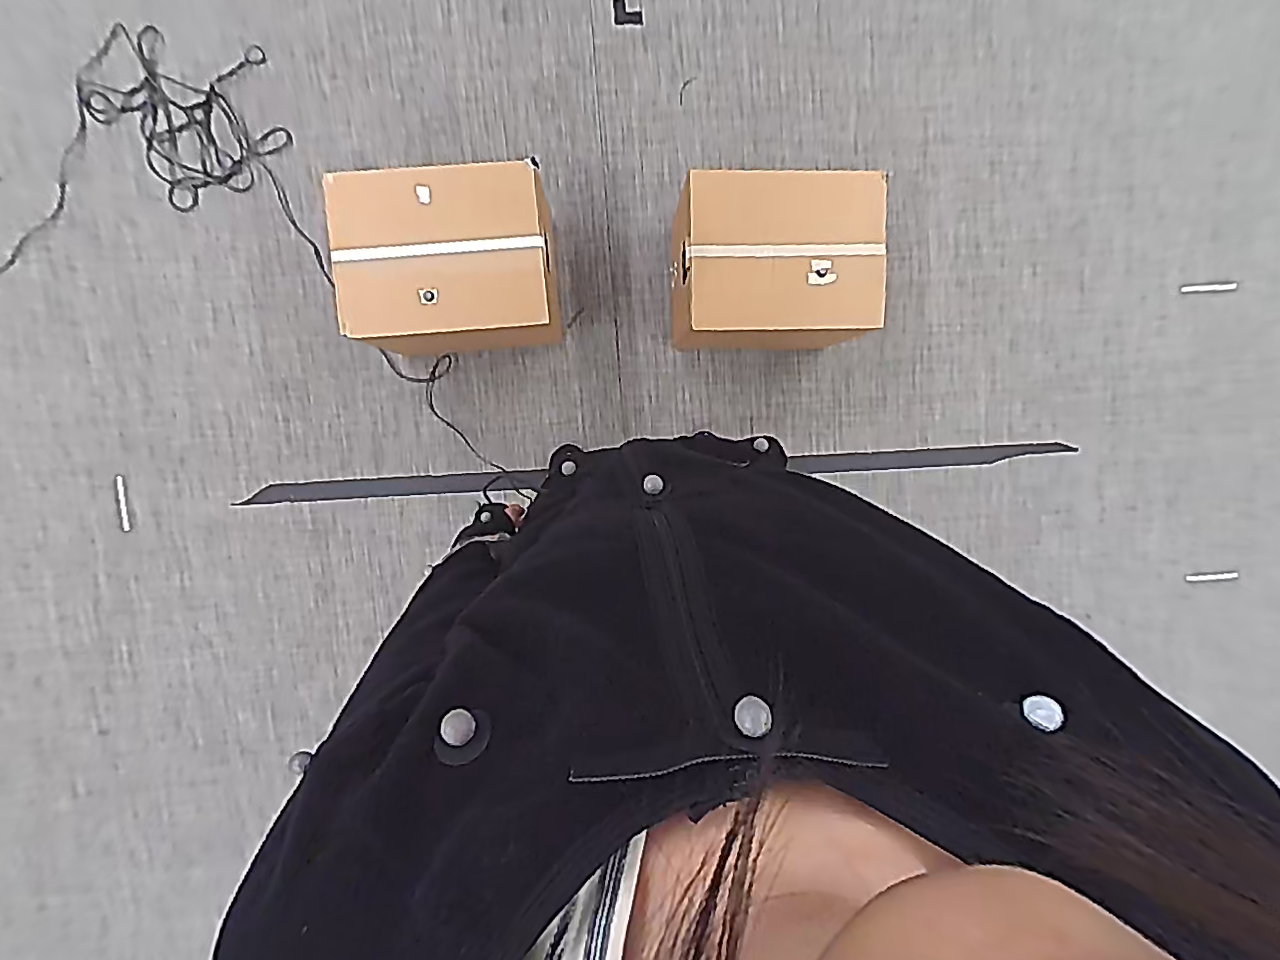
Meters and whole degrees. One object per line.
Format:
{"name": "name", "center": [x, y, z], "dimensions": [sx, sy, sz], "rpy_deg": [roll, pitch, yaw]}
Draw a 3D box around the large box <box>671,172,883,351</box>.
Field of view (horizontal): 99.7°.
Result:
{"name": "large box", "center": [0.291, -0.480, 1.251], "dimensions": [0.408, 0.320, 0.320], "rpy_deg": [-1, 96, -4]}
